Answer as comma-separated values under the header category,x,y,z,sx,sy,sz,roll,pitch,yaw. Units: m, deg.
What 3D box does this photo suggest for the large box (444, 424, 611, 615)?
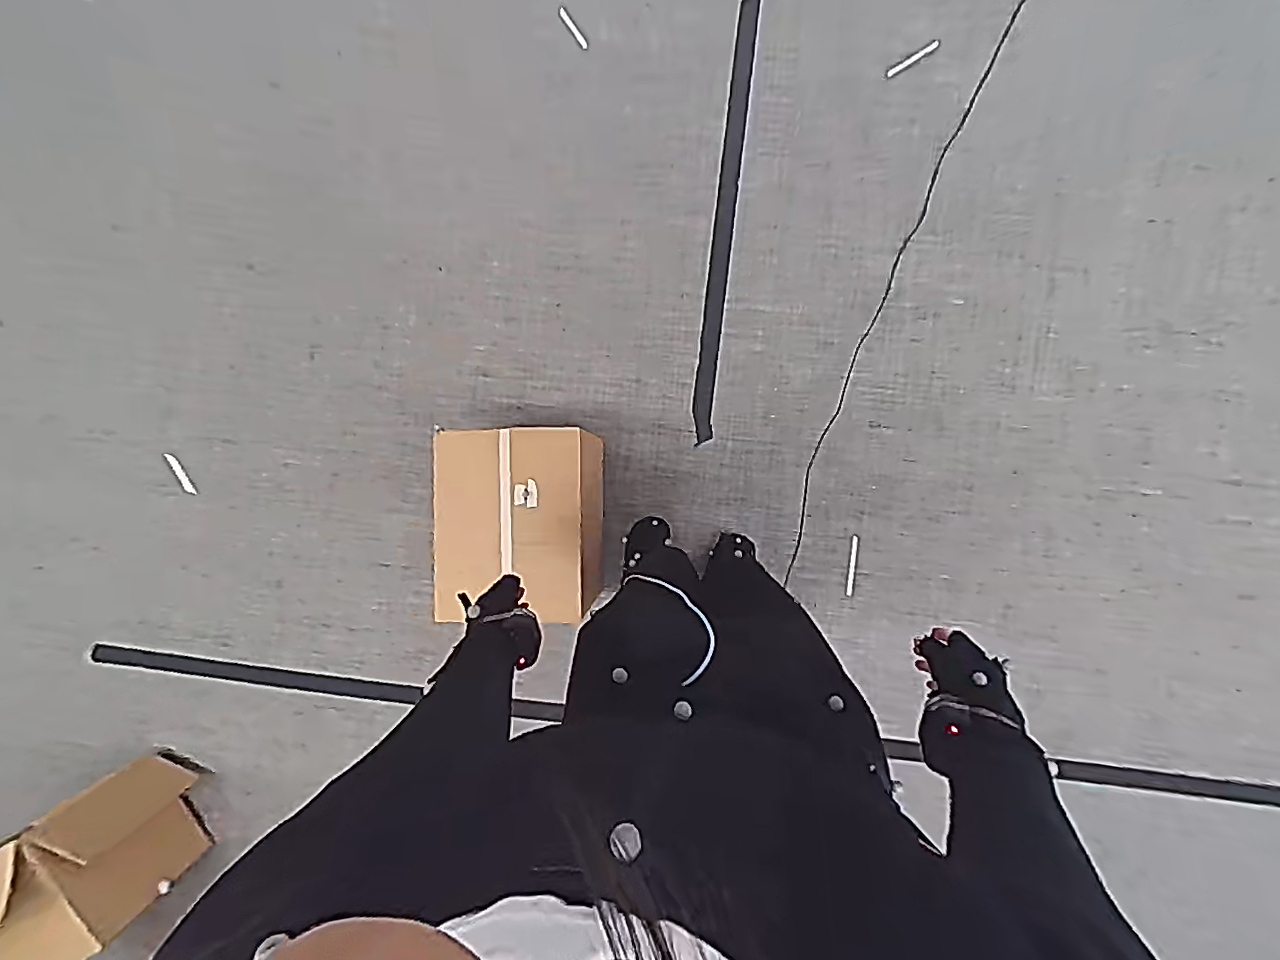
category,x,y,z,sx,sy,sz,roll,pitch,yaw
large box,-0.248,0.089,1.281,0.320,0.320,0.408,-1,89,5
